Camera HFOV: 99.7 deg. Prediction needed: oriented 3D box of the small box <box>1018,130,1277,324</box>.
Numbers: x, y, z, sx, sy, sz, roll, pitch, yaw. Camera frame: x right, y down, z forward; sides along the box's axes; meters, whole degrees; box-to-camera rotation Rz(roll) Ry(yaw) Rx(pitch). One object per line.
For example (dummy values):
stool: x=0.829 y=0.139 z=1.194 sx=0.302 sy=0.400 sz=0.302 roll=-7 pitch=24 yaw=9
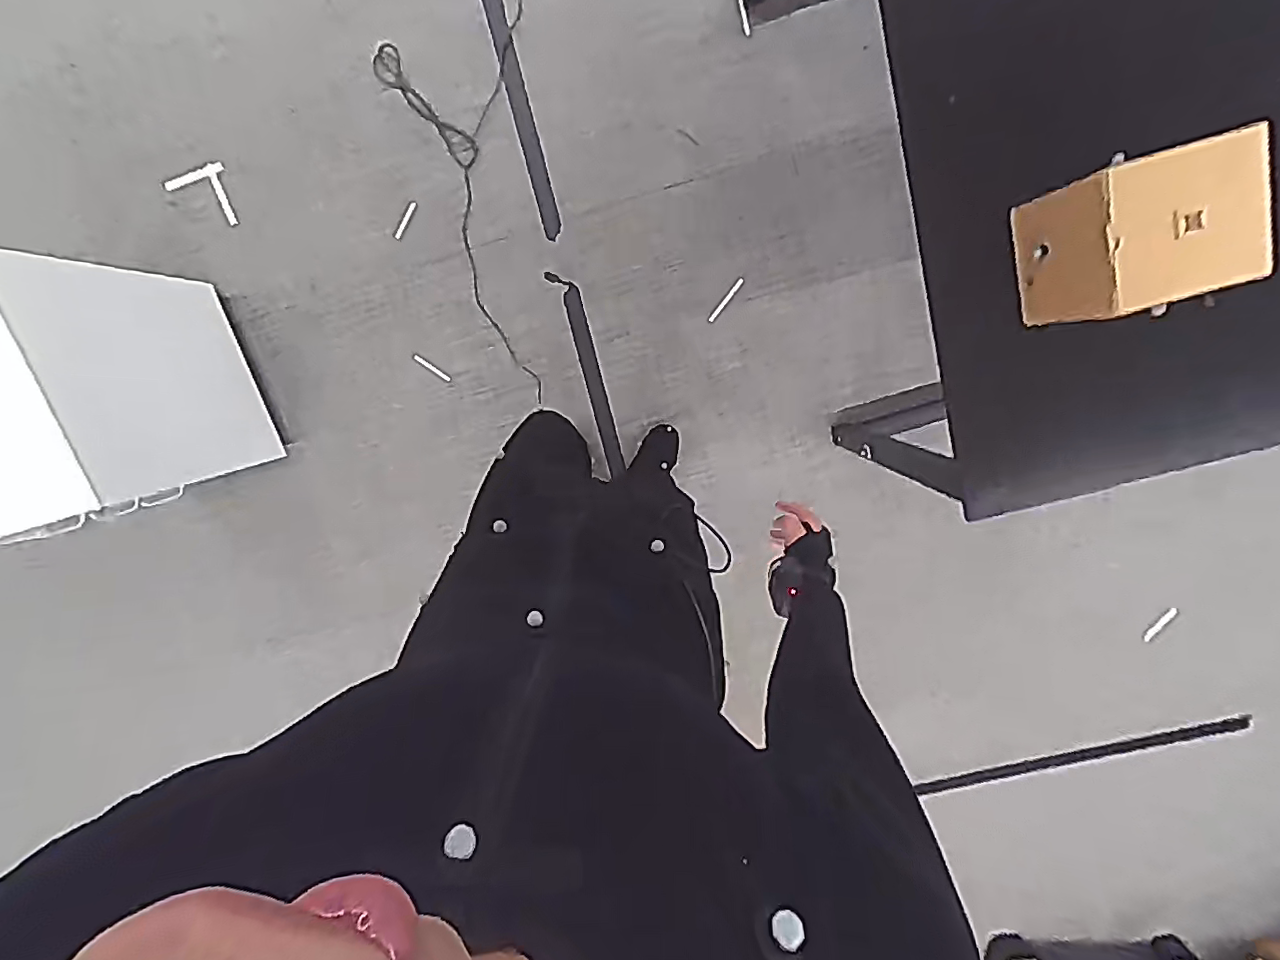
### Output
small box: x=0.632 y=-0.305 z=0.691 sx=0.179 sy=0.176 sz=0.168 roll=-15 pitch=102 yaw=5
